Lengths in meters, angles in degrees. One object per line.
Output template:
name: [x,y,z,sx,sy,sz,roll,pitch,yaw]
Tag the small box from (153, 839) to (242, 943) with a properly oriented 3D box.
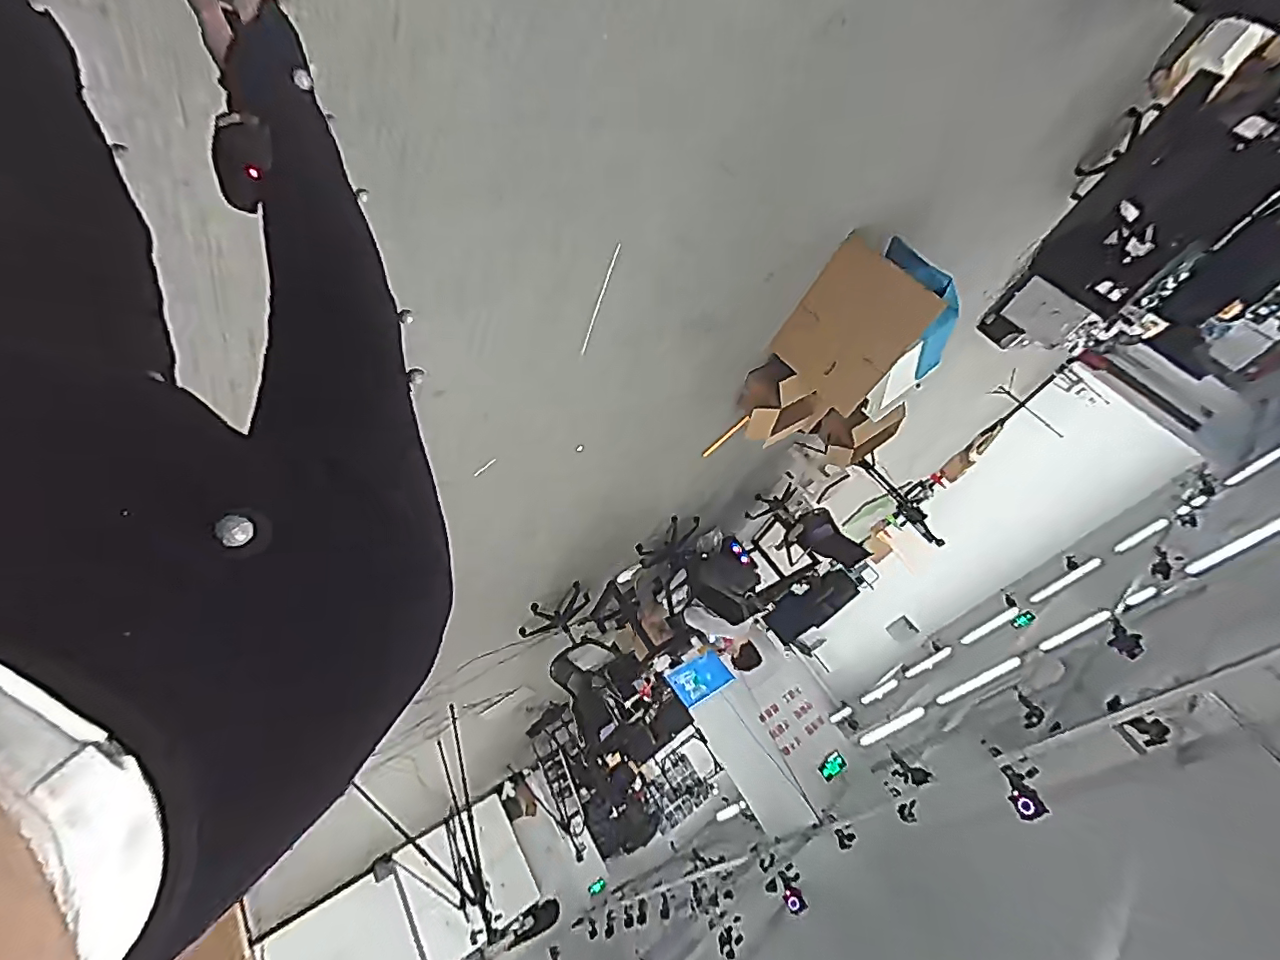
small box: [-1.261,1.168,1.545,0.168,0.176,0.179,-15,147,-40]
